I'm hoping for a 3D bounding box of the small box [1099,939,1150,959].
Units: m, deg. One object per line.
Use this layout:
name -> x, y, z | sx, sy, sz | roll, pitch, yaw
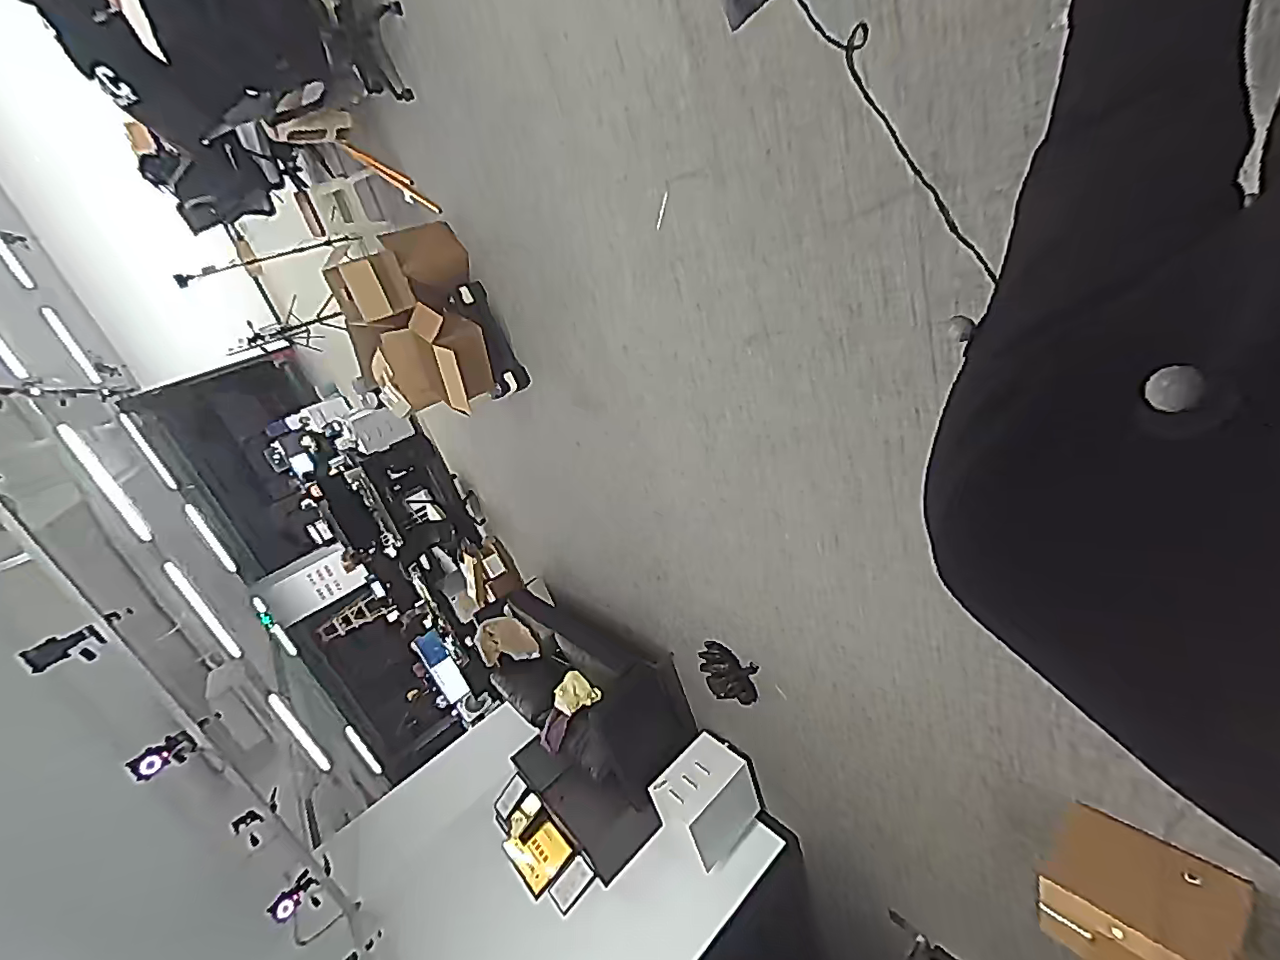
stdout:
small box -> 1.355, 1.418, 1.479 | 0.179, 0.176, 0.168 | 19, 129, 48
